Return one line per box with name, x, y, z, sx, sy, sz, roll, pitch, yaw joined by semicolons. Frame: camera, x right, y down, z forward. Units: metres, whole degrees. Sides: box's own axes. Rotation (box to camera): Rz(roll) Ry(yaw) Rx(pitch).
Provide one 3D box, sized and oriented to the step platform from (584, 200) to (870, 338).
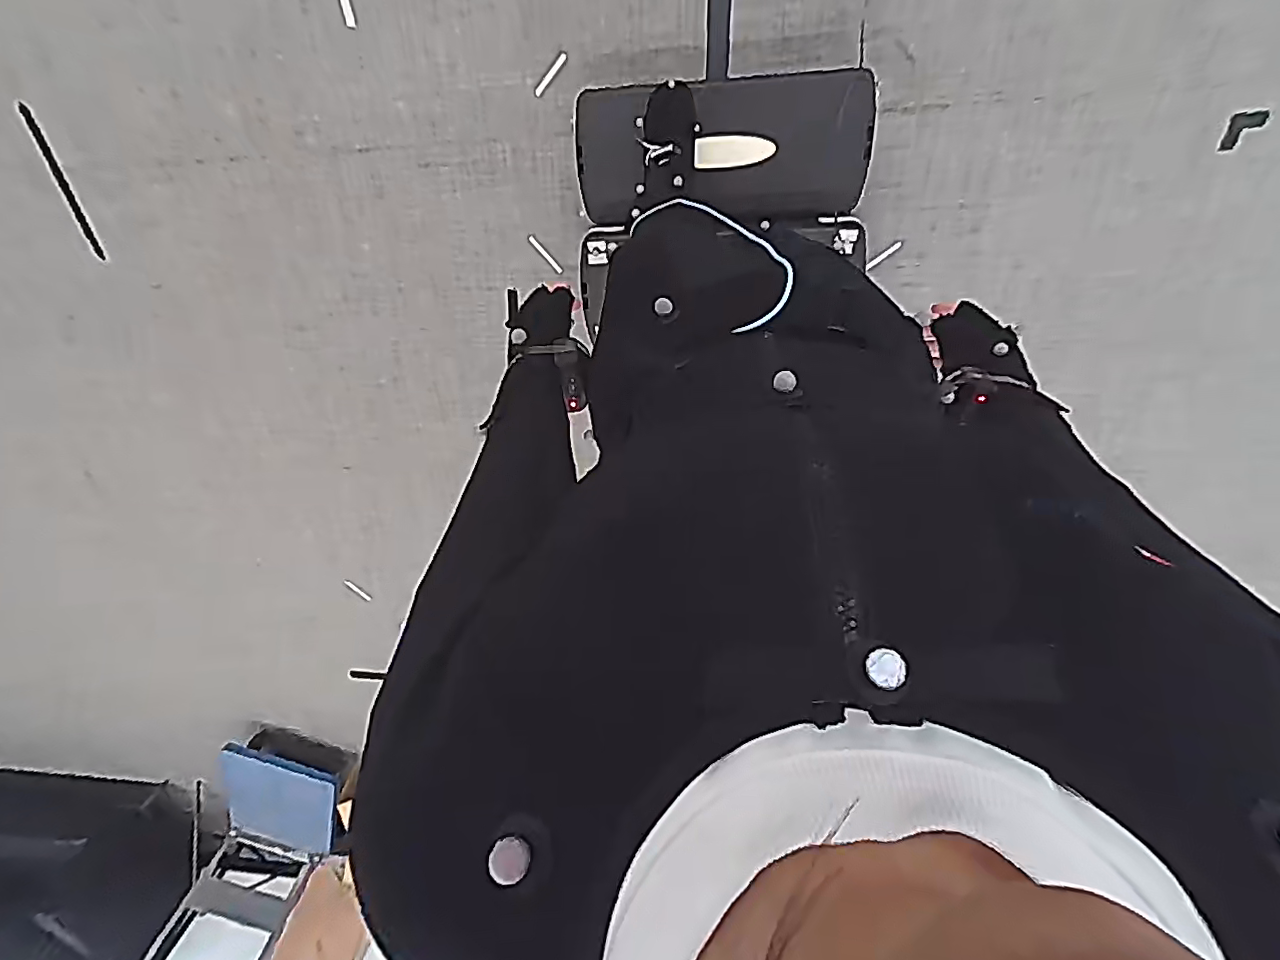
step platform;0.203;-0.516;1.348;0.684;0.204;0.286;1;120;9
